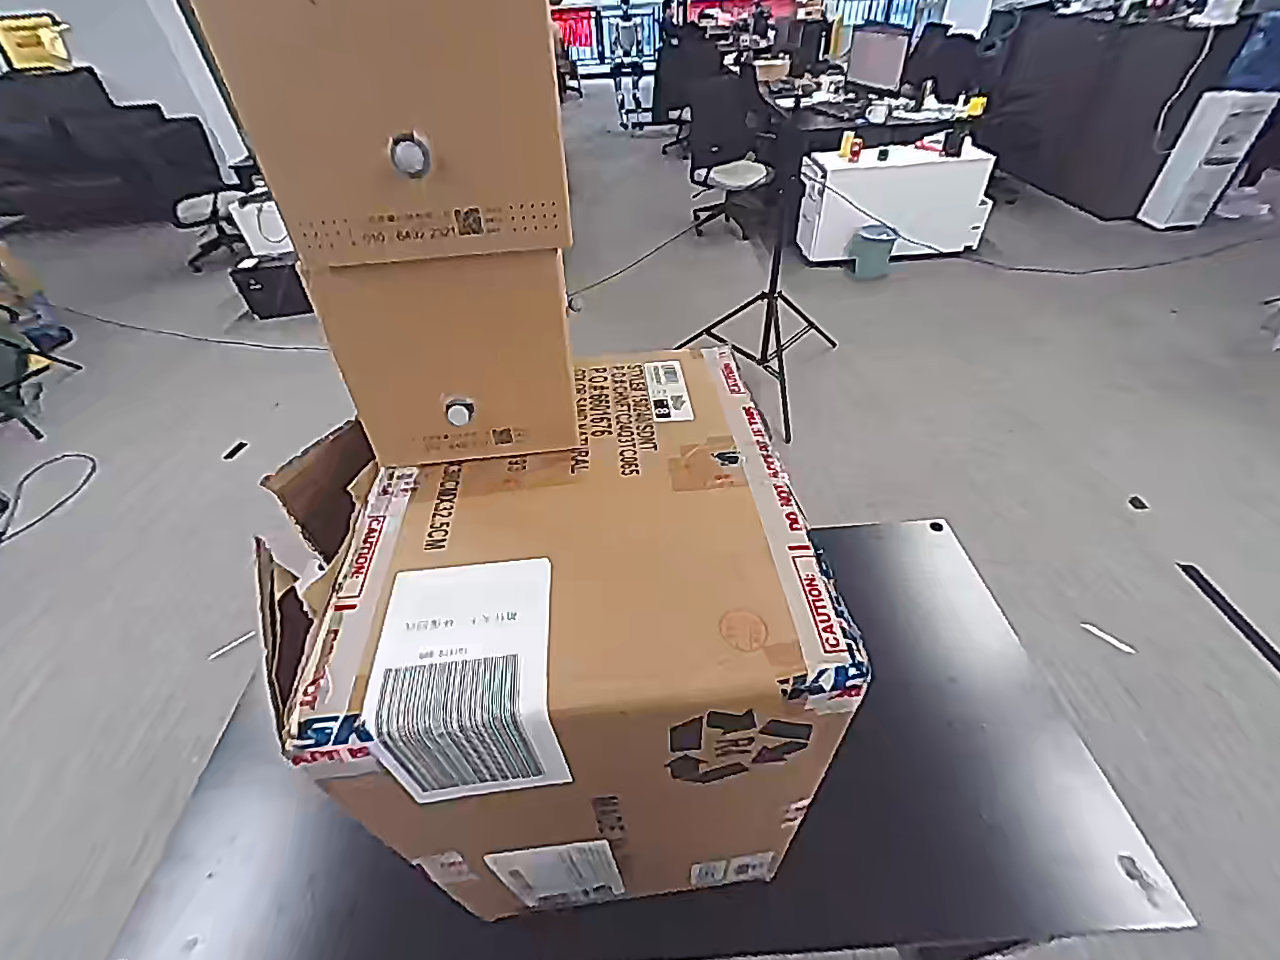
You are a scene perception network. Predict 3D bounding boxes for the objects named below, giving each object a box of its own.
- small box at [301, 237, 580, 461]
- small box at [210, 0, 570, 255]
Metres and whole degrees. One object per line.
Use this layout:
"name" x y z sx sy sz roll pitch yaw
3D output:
"small box" -0.143 -0.137 0.460 0.168 0.176 0.179 -6 41 -5
"small box" -0.139 -0.257 0.346 0.168 0.176 0.179 -8 41 -6
